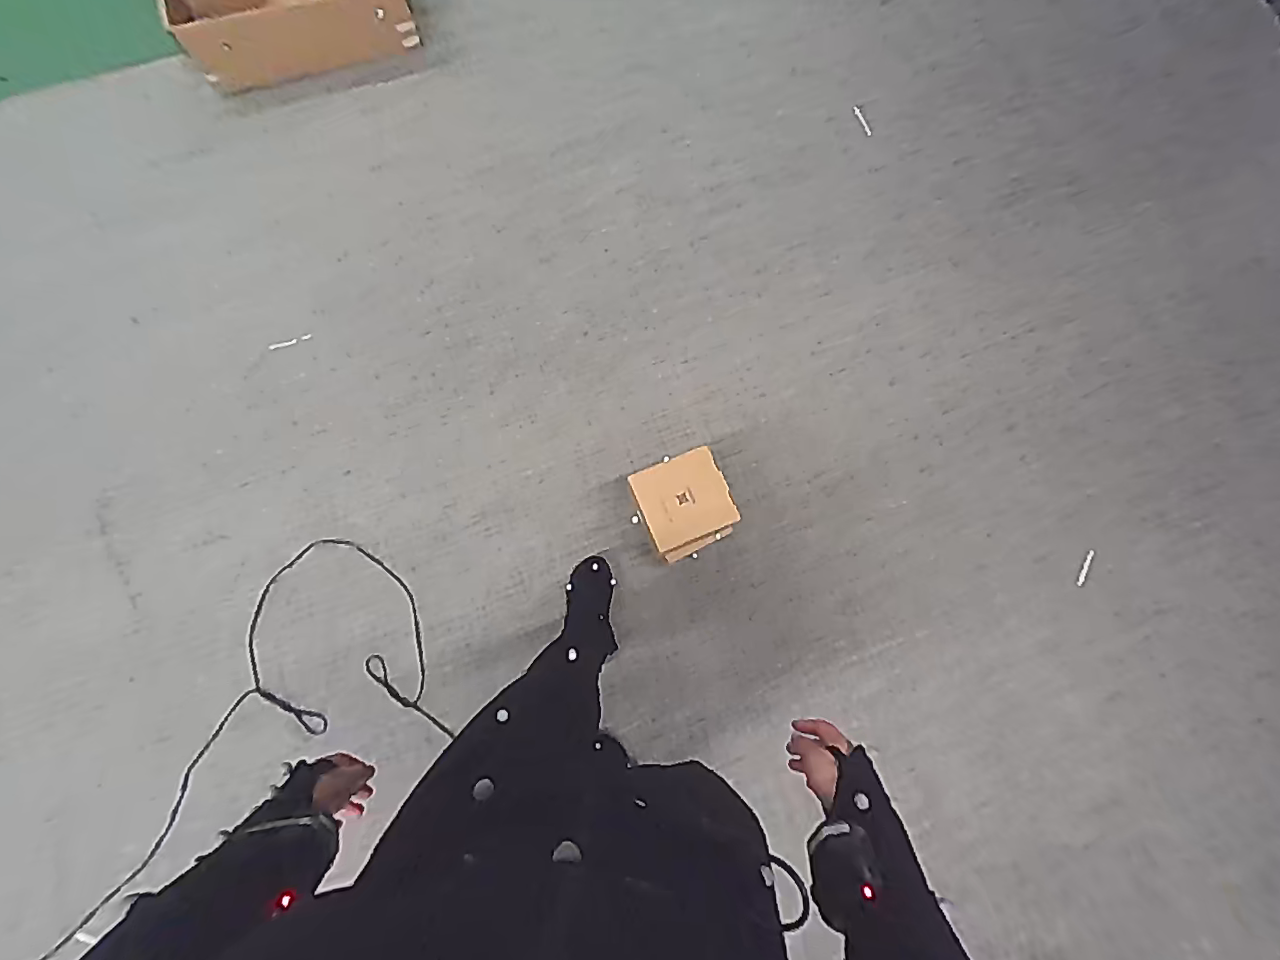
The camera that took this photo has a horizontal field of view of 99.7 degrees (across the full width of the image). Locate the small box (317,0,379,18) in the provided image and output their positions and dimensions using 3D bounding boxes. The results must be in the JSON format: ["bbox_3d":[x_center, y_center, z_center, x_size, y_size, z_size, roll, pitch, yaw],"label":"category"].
[{"bbox_3d":[-0.865,-1.465,1.525,0.168,0.176,0.179,-15,80,-5],"label":"small box"}]

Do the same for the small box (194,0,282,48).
[{"bbox_3d":[-1.132,-1.351,1.489,0.168,0.176,0.179,-21,81,-6],"label":"small box"}]

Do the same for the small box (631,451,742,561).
[{"bbox_3d":[0.088,0.060,1.137,0.179,0.176,0.168,-22,79,-6],"label":"small box"}]
